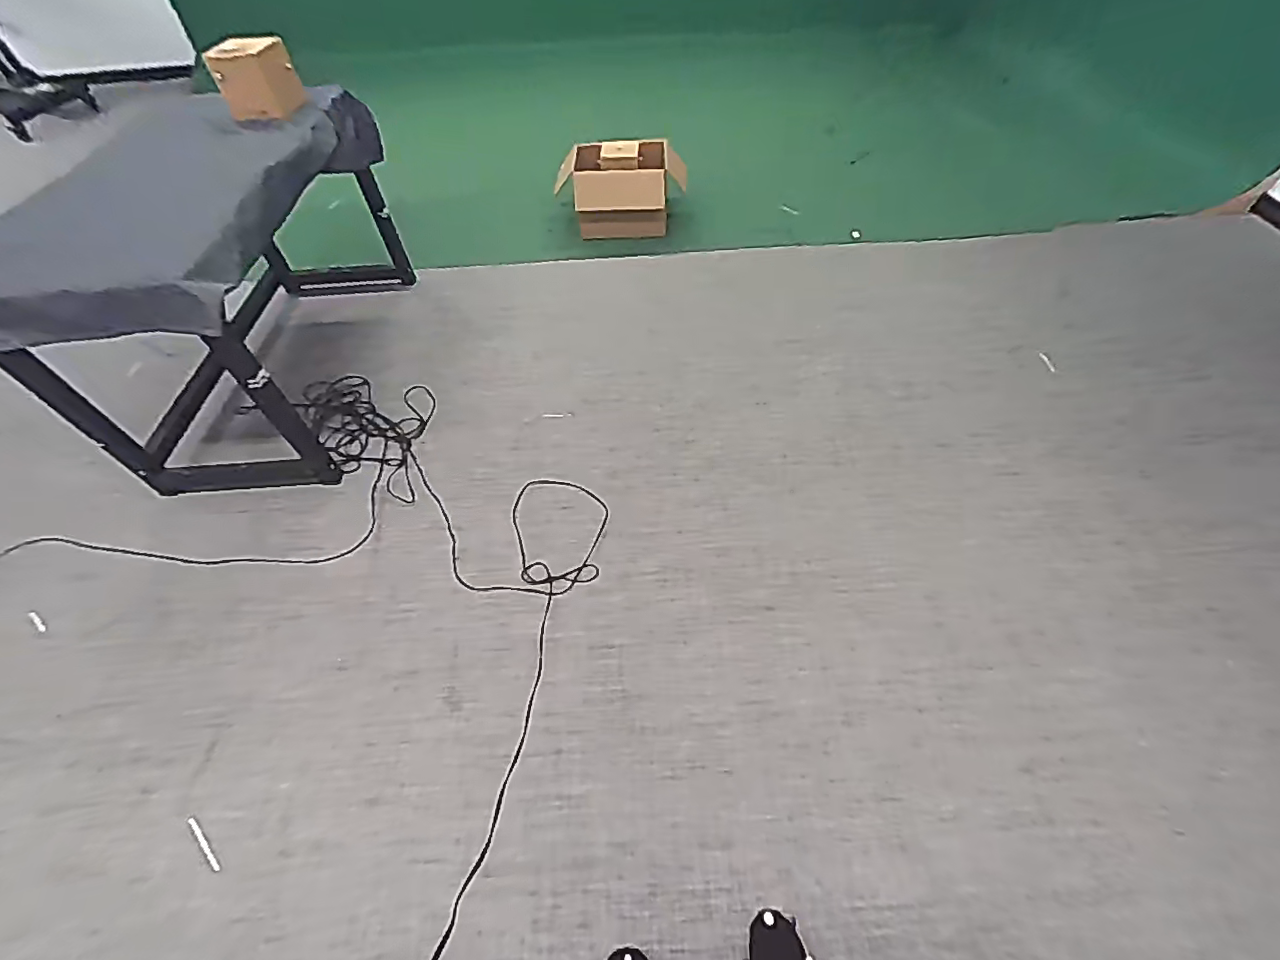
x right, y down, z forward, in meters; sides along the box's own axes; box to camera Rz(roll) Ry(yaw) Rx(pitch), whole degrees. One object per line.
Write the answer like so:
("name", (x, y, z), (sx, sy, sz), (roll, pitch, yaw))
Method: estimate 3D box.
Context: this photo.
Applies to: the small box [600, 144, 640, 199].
("small box", (-0.088, -1.399, 2.449), (0.168, 0.176, 0.179), (0, 51, 2))
